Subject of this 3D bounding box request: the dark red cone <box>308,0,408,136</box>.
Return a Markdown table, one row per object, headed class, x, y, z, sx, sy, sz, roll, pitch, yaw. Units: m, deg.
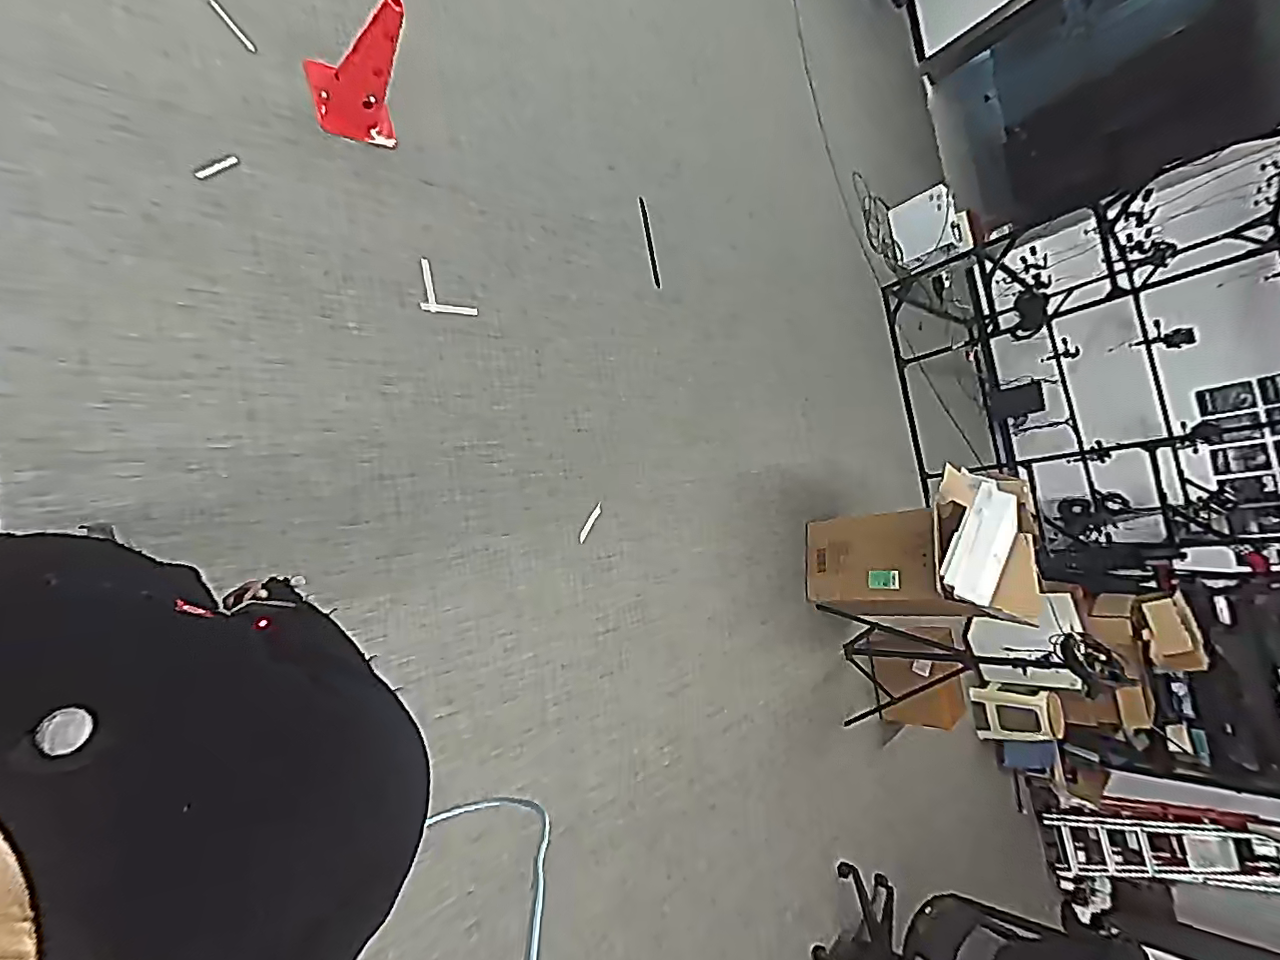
| class | x | y | z | sx | sy | sz | roll | pitch | yaw |
| --- | --- | --- | --- | --- | --- | --- | --- | --- | --- |
| dark red cone | -0.652 | -1.059 | 1.325 | 0.201 | 0.394 | 0.202 | -16 | 92 | -43 |
